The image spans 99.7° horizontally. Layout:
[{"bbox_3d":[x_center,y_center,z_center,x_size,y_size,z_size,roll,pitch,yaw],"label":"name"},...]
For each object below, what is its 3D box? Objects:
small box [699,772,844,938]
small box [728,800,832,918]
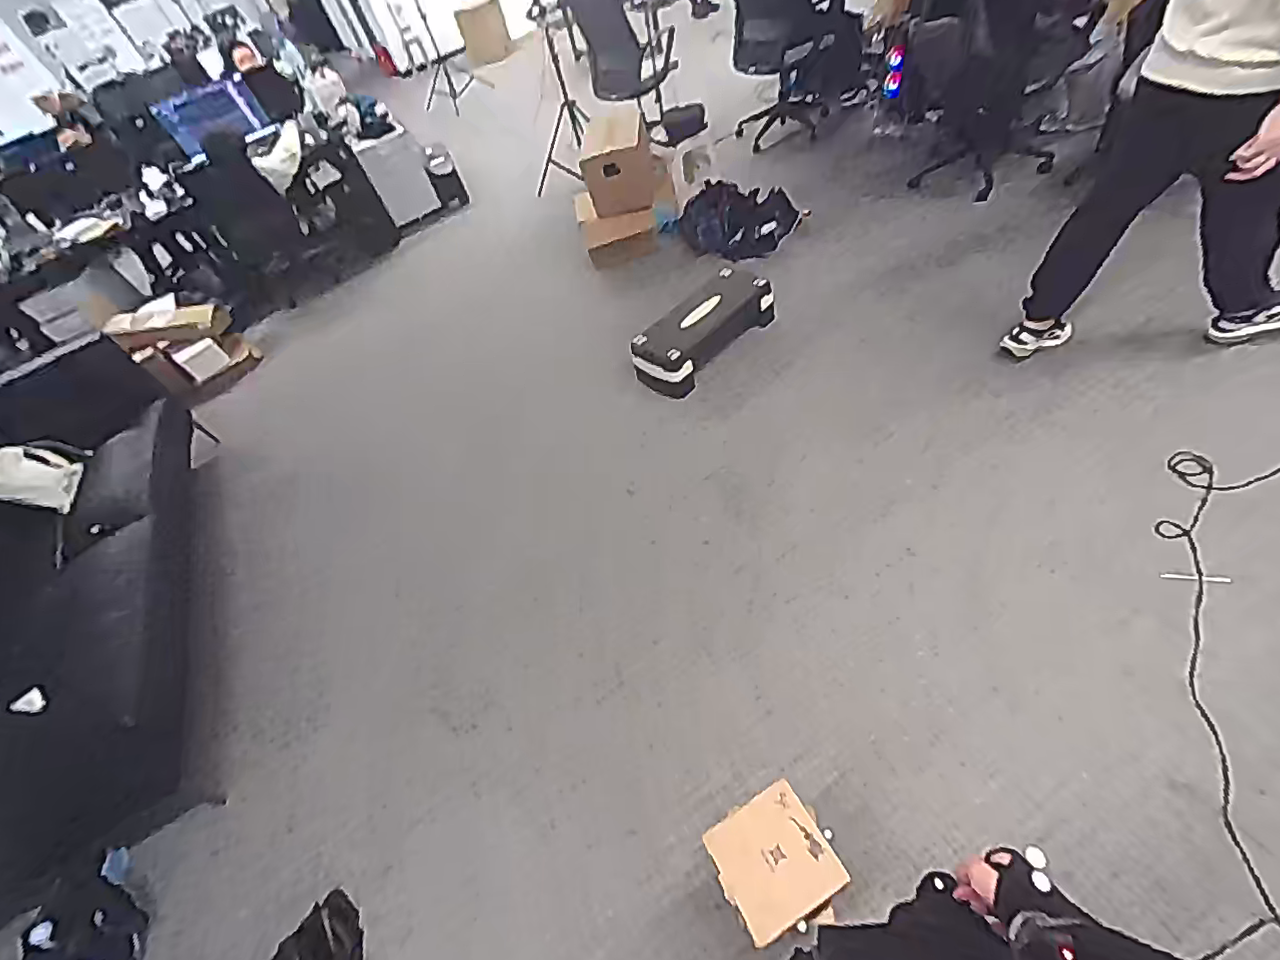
[{"bbox_3d":[0.229,0.641,0.927,0.179,0.176,0.168,-32,50,-6],"label":"small box"},{"bbox_3d":[0.268,0.739,1.053,0.168,0.176,0.179,-10,52,11],"label":"small box"}]
